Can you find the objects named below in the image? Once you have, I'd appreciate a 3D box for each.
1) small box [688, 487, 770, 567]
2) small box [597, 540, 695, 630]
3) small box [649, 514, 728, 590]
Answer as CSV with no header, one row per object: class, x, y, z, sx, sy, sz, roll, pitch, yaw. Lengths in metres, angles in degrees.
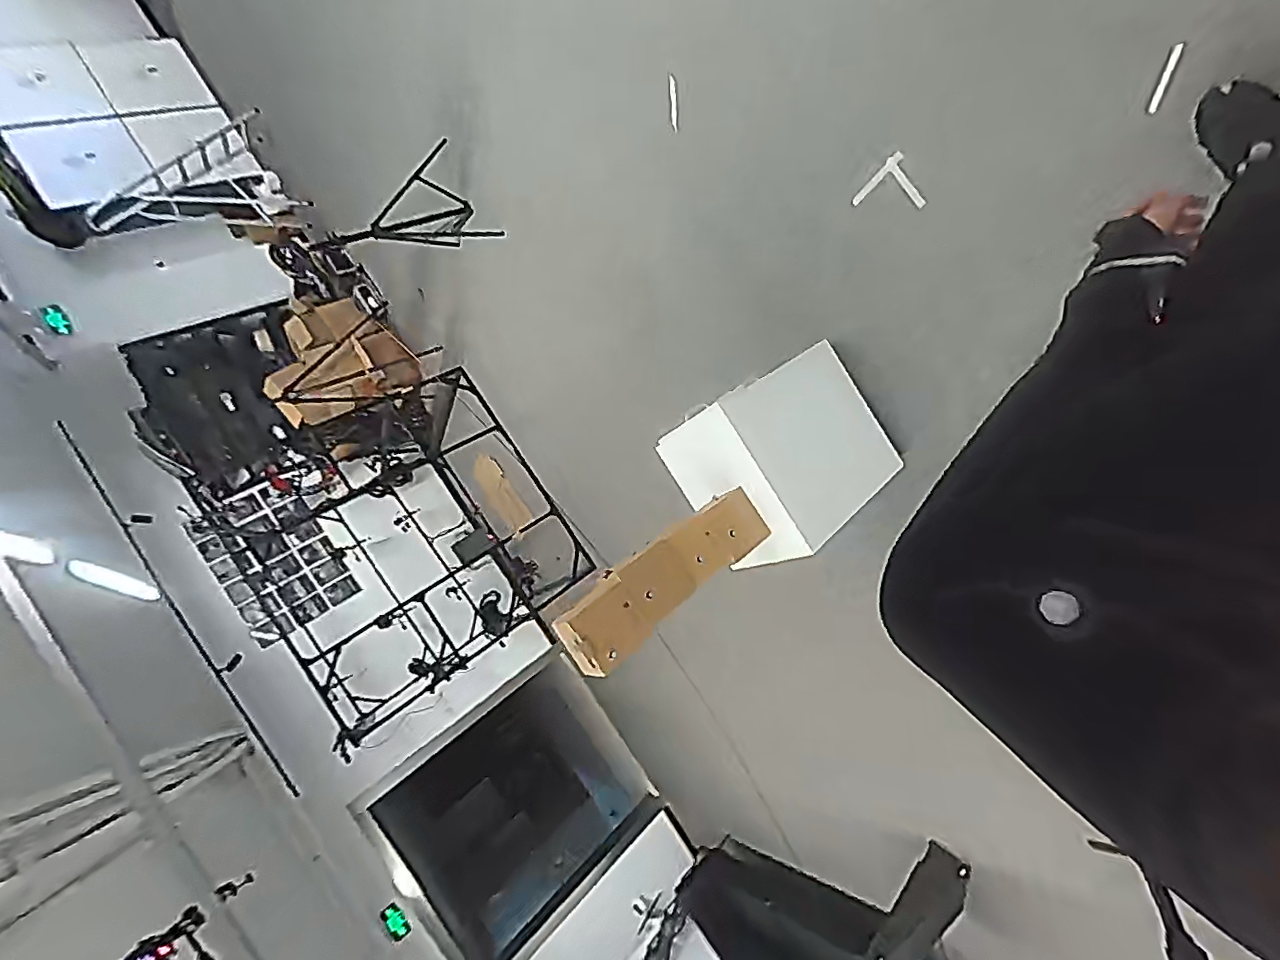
small box,0.261,0.148,1.651,0.179,0.176,0.168,57,149,2
small box,0.019,0.289,1.482,0.179,0.176,0.168,57,150,0
small box,0.131,0.218,1.581,0.168,0.176,0.179,57,150,0
